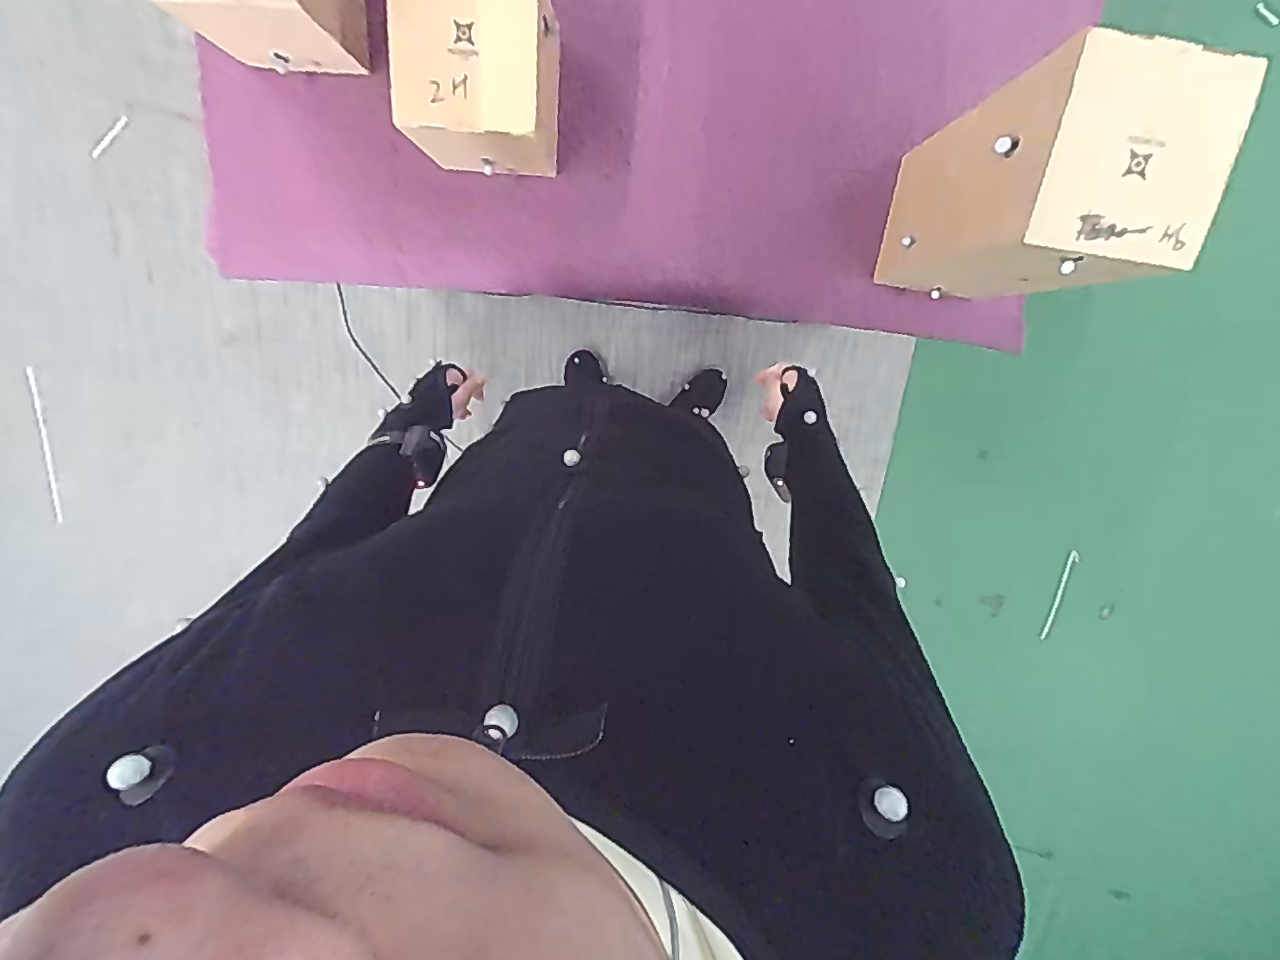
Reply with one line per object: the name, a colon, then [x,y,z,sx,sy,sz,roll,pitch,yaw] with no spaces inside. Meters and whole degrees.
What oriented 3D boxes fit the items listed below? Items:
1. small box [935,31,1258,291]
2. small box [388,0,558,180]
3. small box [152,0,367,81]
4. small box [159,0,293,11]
small box: [0.442,-0.307,0.561,0.168,0.176,0.179,9,103,-1]
small box: [-0.197,-0.501,0.677,0.168,0.176,0.179,4,105,-1]
small box: [-0.450,-0.618,0.644,0.168,0.176,0.179,3,106,-1]
small box: [-0.448,-0.578,0.486,0.168,0.176,0.179,2,105,0]
